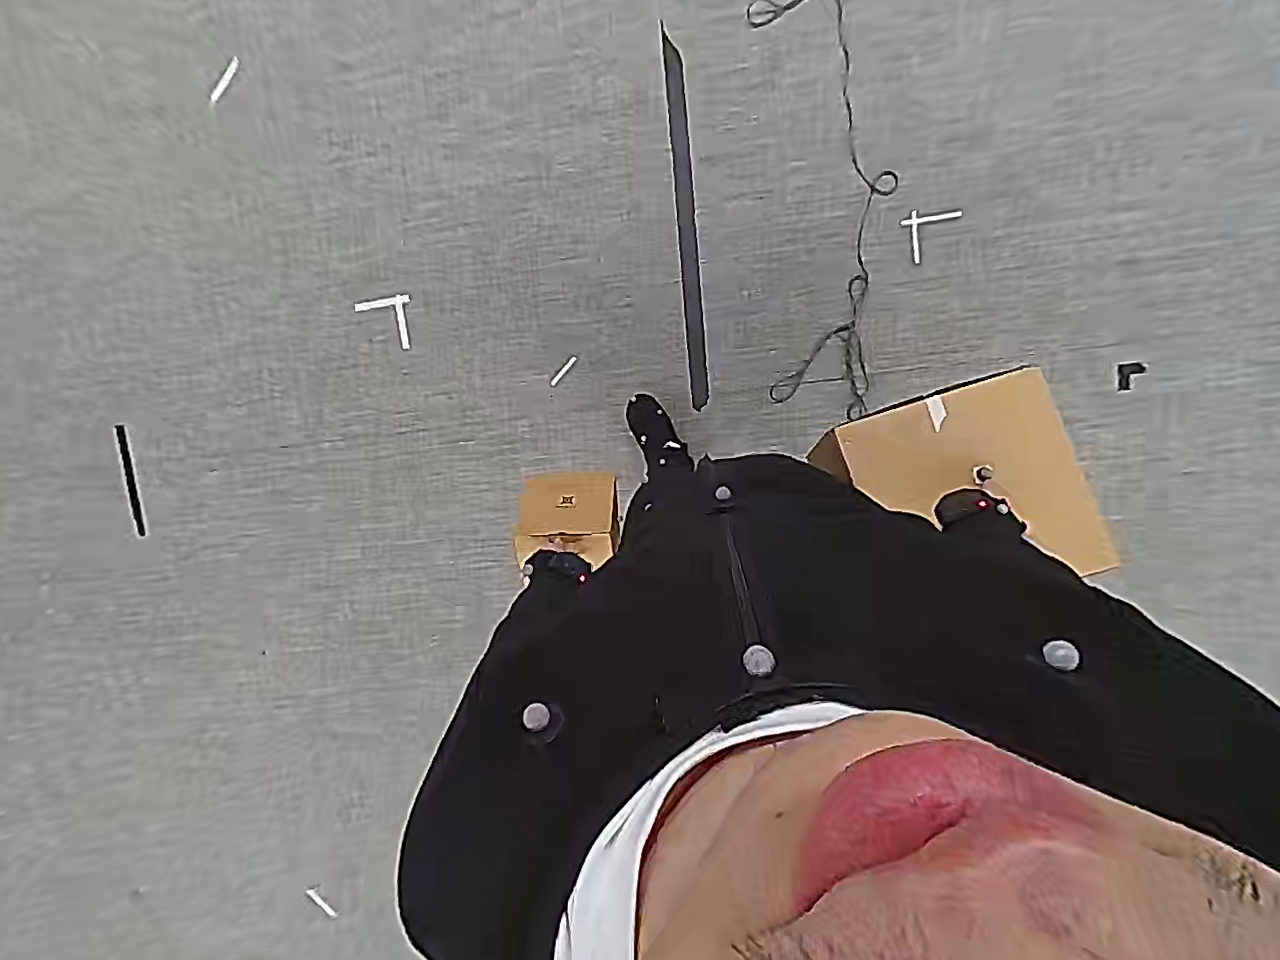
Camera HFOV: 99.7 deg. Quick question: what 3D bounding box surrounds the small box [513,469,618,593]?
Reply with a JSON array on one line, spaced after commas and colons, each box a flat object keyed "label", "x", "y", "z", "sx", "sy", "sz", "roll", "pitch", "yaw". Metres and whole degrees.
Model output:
[{"label": "small box", "x": -0.130, "y": 0.098, "z": 1.019, "sx": 0.168, "sy": 0.179, "sz": 0.176, "roll": -1, "pitch": 127, "yaw": 1}]
